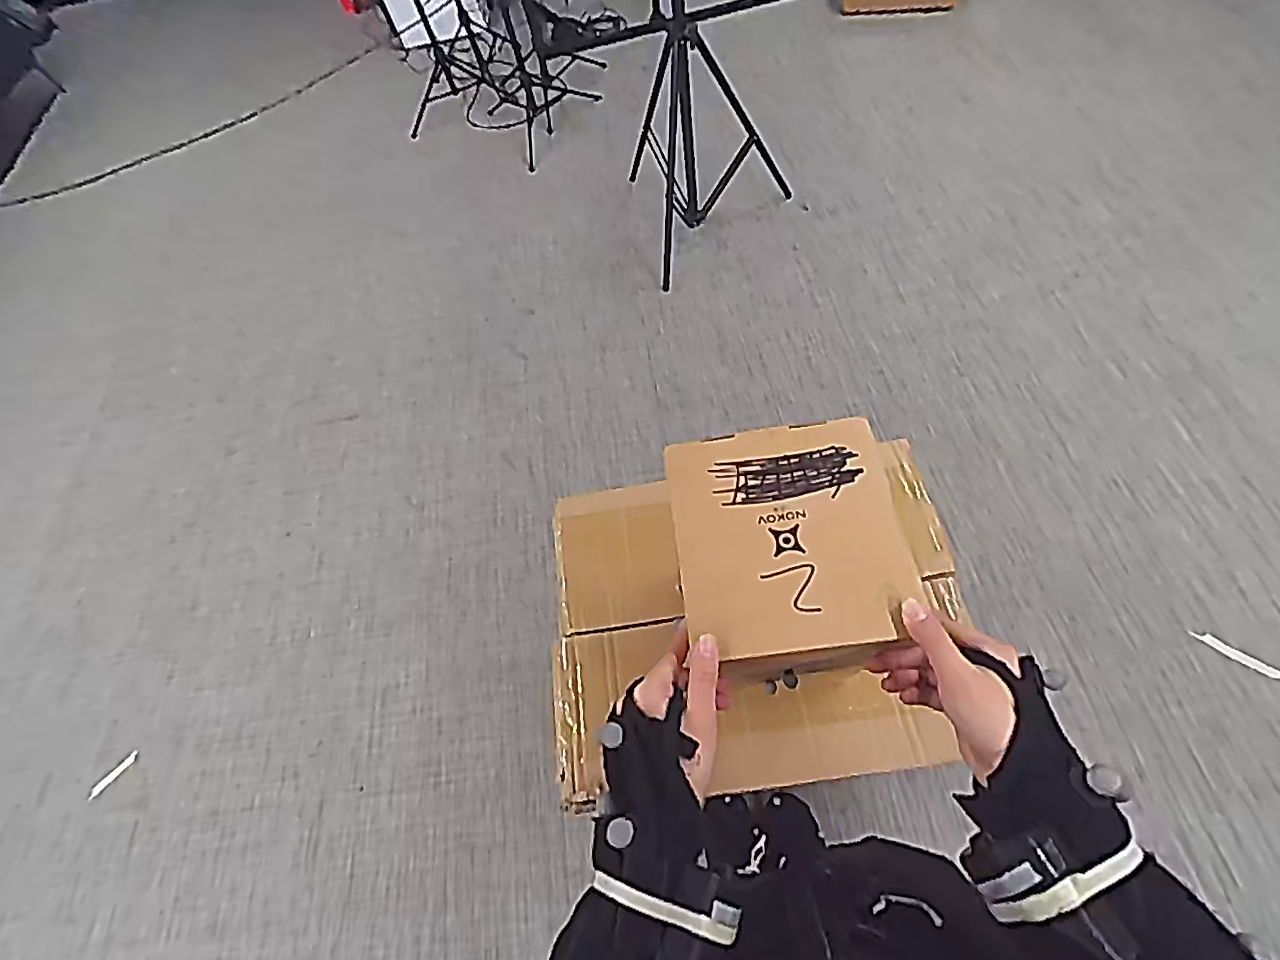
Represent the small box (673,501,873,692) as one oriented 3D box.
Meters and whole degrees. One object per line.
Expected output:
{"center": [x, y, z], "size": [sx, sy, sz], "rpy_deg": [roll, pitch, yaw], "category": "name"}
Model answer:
{"center": [0.141, 0.143, 0.621], "size": [0.179, 0.176, 0.168], "rpy_deg": [-9, 63, 5], "category": "small box"}
